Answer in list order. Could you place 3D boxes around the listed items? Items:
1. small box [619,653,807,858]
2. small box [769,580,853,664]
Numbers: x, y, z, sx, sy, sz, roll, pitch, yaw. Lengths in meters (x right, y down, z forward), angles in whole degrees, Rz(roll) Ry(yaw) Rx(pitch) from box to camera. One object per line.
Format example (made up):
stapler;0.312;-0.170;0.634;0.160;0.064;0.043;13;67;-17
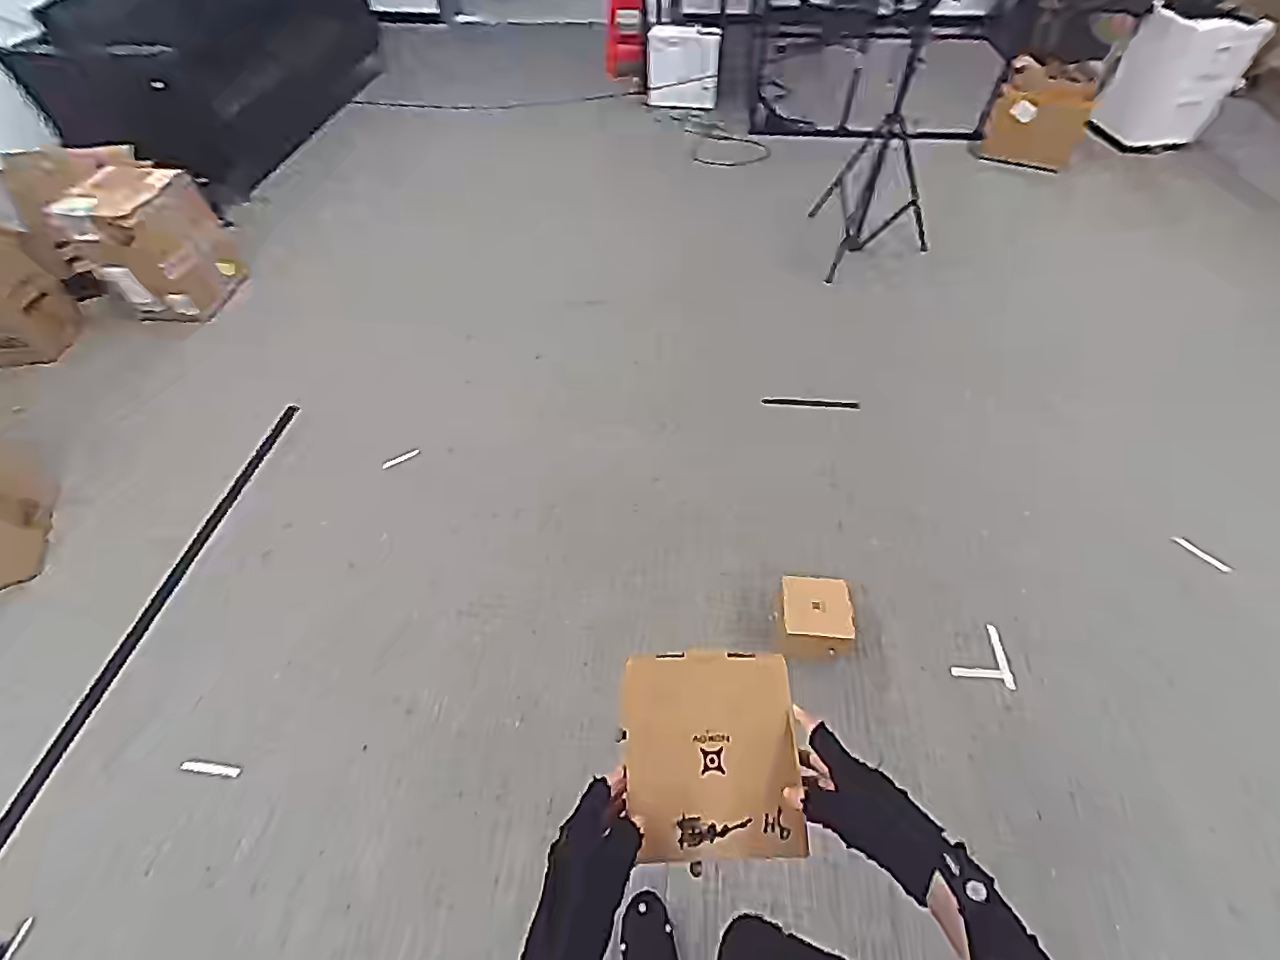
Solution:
small box;0.064;0.292;0.587;0.168;0.176;0.179;2;64;-3
small box;0.458;0.391;1.472;0.179;0.176;0.168;3;52;4
